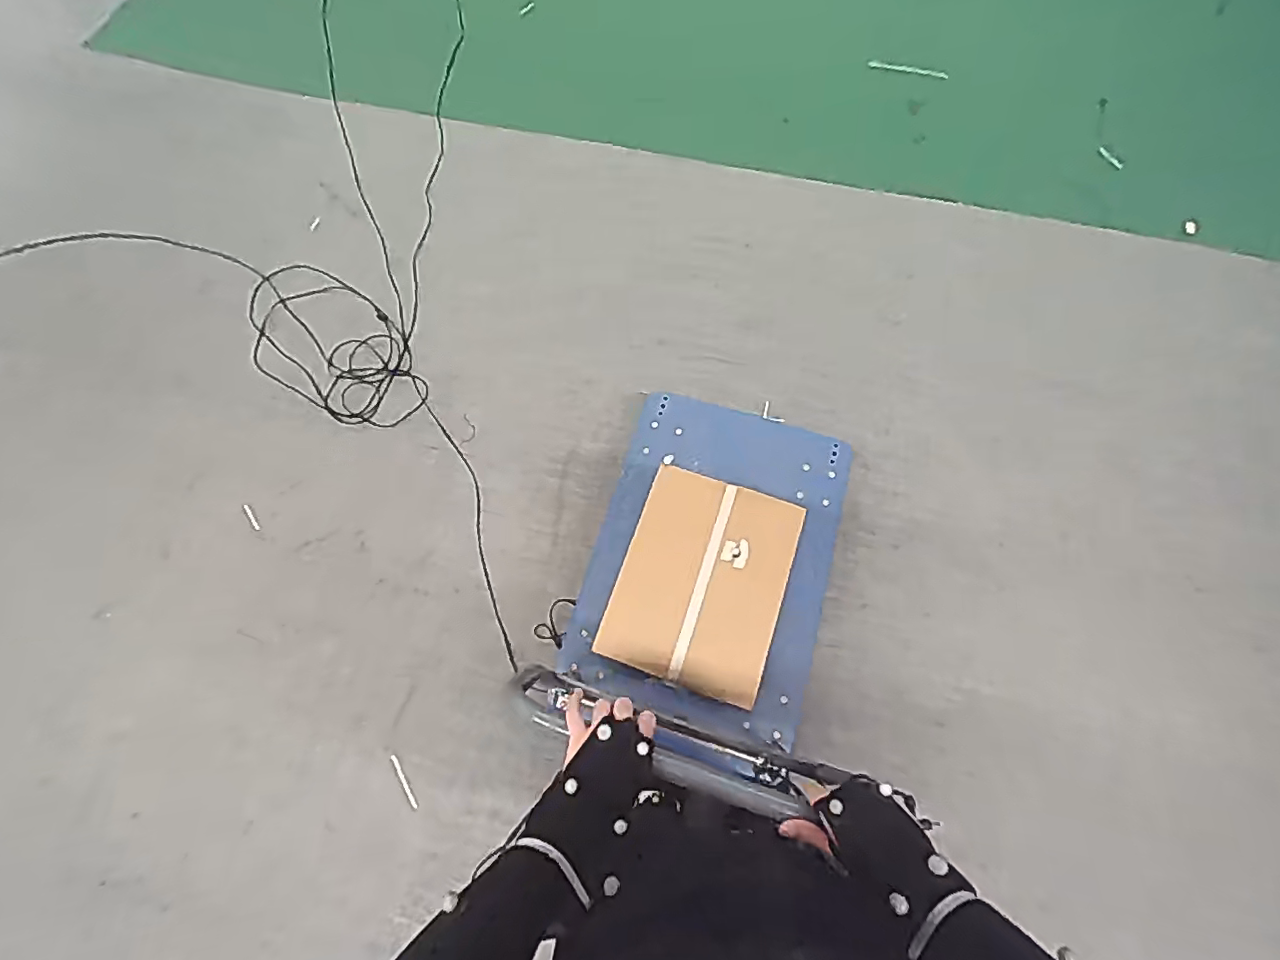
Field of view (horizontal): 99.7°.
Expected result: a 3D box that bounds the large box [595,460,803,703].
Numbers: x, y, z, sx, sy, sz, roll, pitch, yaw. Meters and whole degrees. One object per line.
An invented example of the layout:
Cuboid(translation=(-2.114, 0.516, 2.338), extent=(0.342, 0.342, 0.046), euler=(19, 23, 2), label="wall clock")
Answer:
Cuboid(translation=(0.124, 0.229, 1.181), extent=(0.320, 0.320, 0.408), euler=(19, 72, 7), label="large box")
